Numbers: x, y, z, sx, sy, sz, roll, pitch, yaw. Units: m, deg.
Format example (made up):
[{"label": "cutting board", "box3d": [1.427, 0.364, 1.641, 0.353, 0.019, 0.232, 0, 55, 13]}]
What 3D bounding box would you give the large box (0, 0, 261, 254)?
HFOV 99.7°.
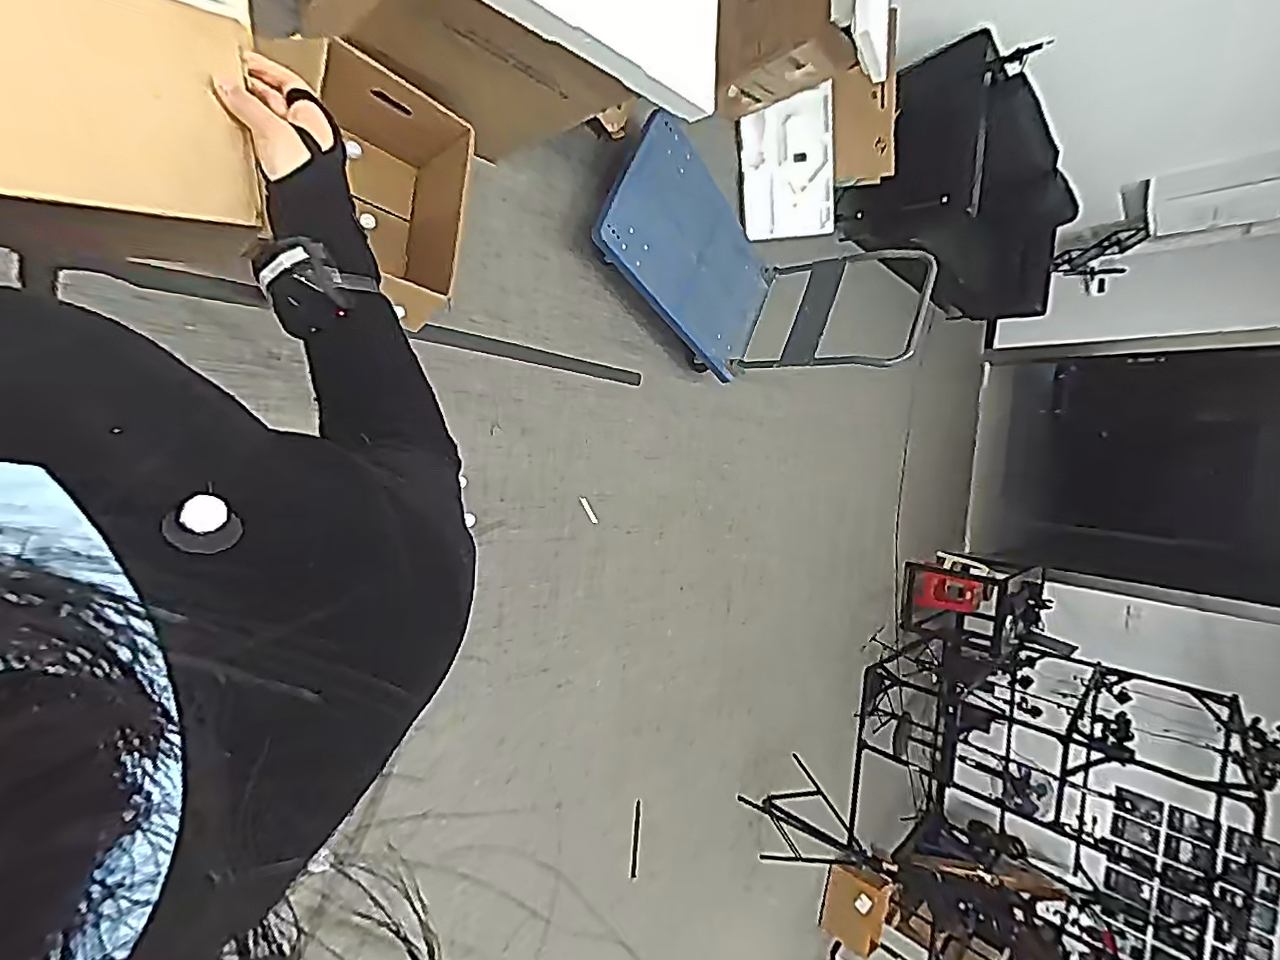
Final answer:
[{"label": "large box", "box3d": [-0.565, -0.365, 0.407, 0.408, 0.320, 0.320, -11, 107, -39]}]
